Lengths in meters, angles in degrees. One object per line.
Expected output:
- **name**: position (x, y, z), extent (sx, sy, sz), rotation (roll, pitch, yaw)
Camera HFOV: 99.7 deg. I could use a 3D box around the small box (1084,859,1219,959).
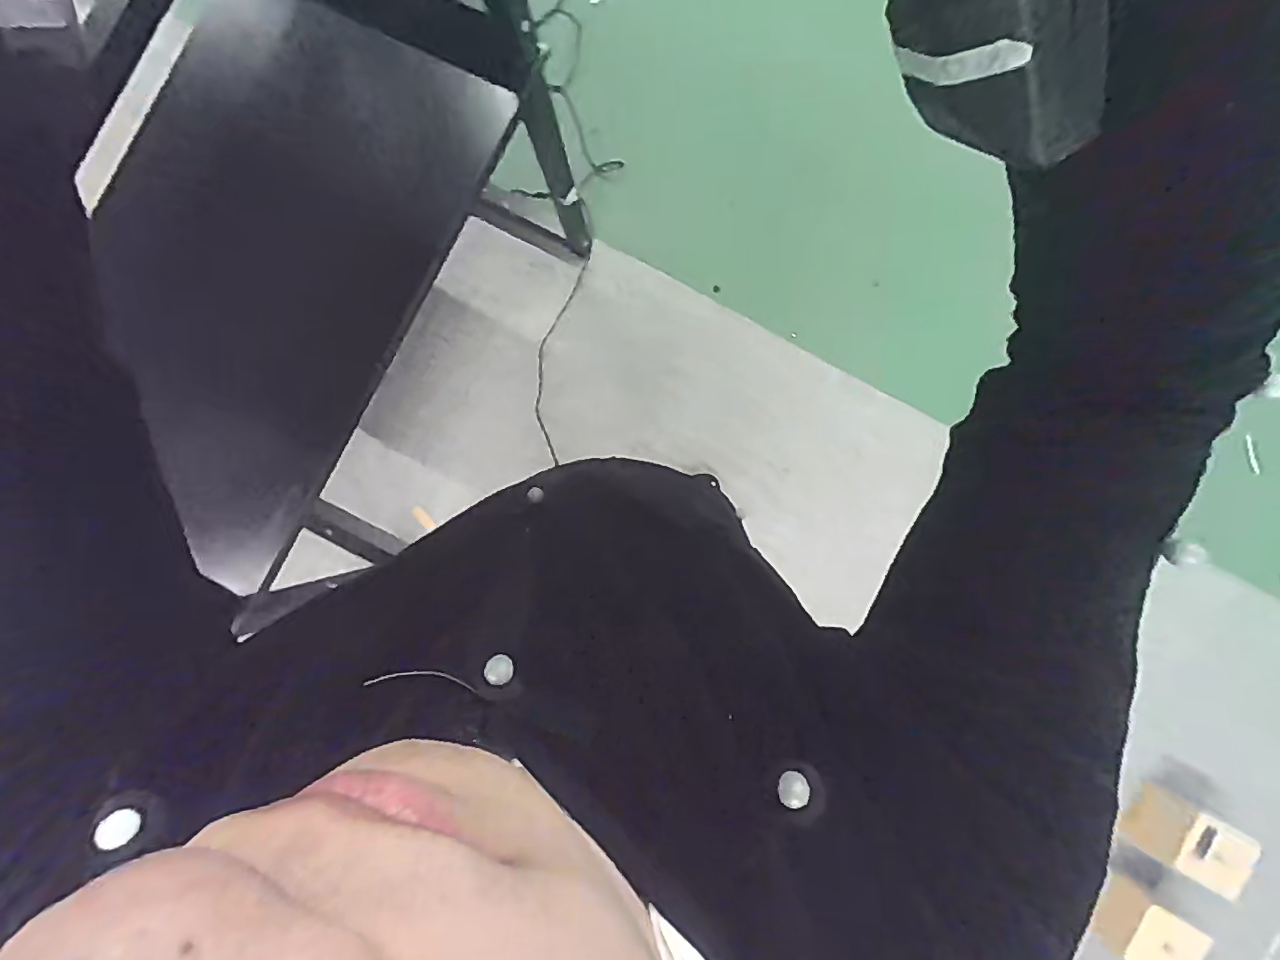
- **small box**: position (1.369, 1.179, 1.462), extent (0.179, 0.176, 0.168), rotation (28, 90, 3)
